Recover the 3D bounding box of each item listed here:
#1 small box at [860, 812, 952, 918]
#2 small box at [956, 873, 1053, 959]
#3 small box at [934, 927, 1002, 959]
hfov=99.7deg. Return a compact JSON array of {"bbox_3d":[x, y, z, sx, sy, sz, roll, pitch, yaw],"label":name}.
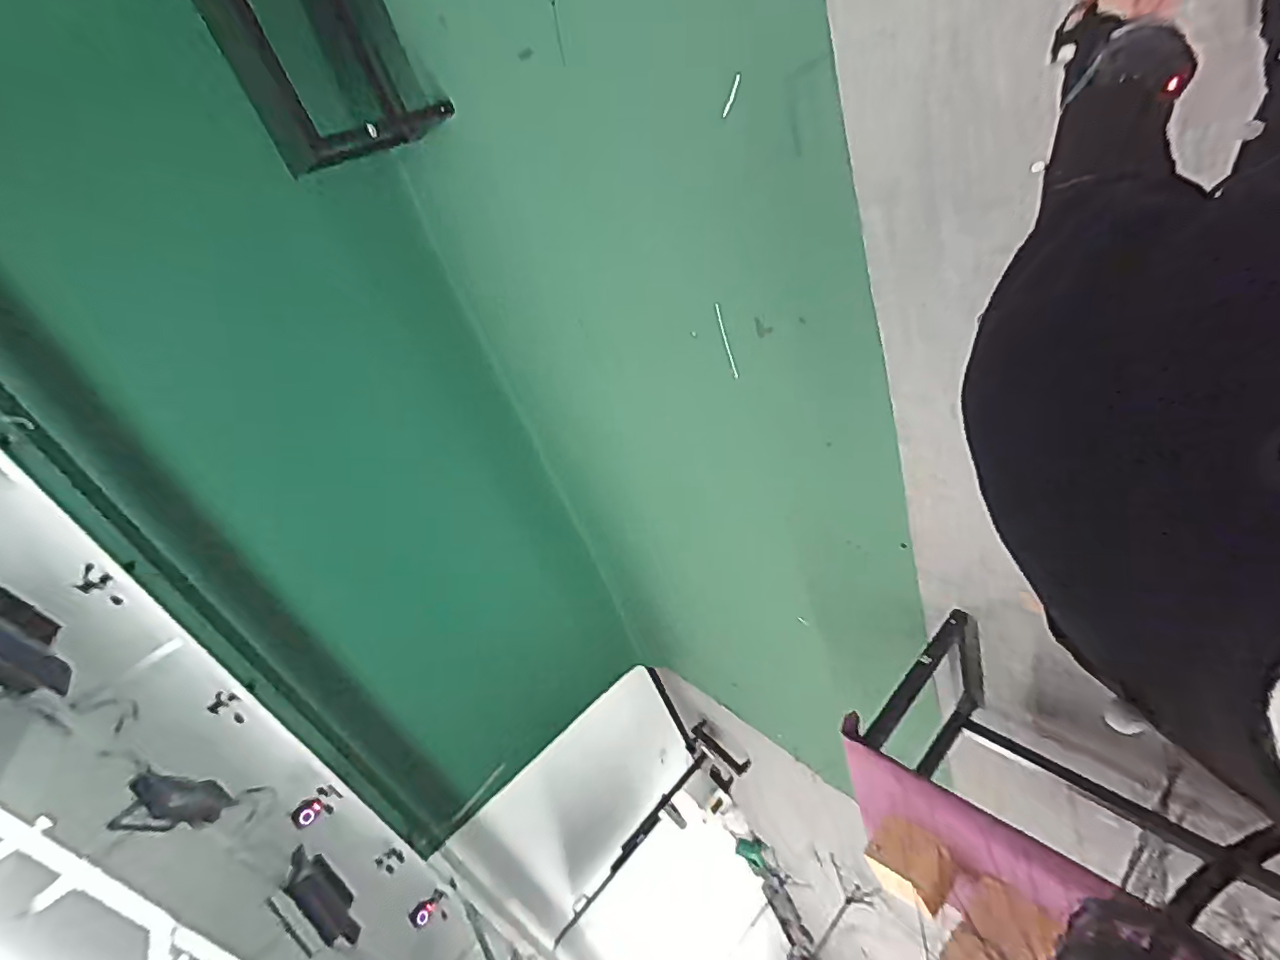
[{"bbox_3d":[0.824,1.170,1.660,0.168,0.176,0.179,58,153,-10],"label":"small box"},{"bbox_3d":[0.986,1.230,1.466,0.179,0.176,0.168,22,139,47],"label":"small box"},{"bbox_3d":[0.861,1.310,1.394,0.179,0.176,0.168,22,140,47],"label":"small box"}]
